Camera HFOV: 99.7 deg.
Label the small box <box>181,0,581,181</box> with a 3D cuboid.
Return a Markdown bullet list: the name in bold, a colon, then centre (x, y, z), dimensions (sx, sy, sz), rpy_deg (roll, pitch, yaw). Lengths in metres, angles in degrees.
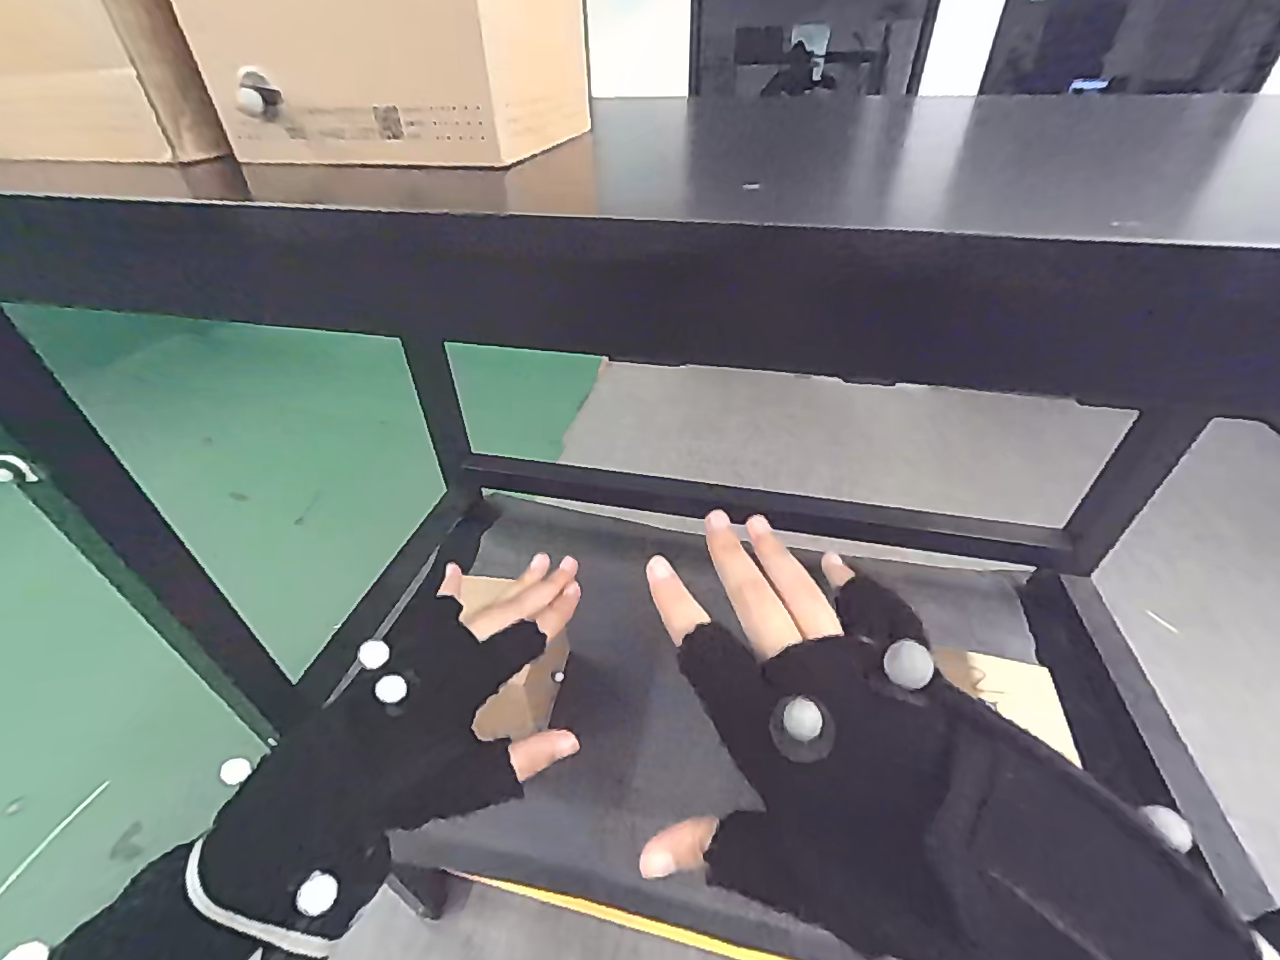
- **small box**: centre (-0.138, -0.284, 0.319), dimensions (0.168, 0.176, 0.179), rpy_deg (7, 38, 9)

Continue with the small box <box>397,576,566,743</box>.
- **small box**: centre (-0.219, 0.266, 0.802), dimensions (0.179, 0.176, 0.168), rpy_deg (5, 39, 7)
